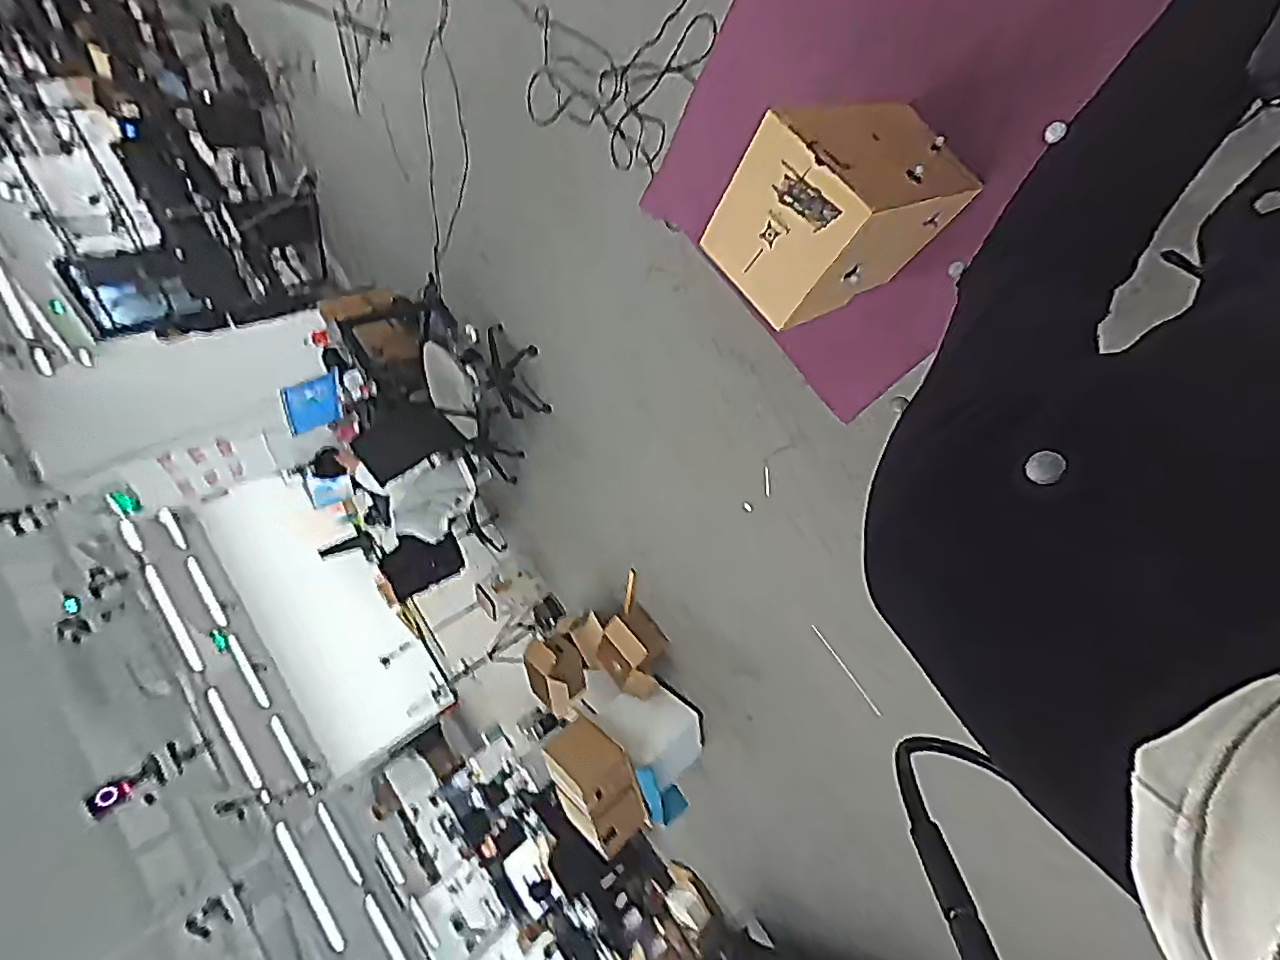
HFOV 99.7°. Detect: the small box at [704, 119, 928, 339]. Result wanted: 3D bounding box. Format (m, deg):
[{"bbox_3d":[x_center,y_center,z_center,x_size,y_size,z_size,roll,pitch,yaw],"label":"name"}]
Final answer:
[{"bbox_3d":[0.218,-0.310,0.665,0.168,0.176,0.179,53,145,12],"label":"small box"}]
